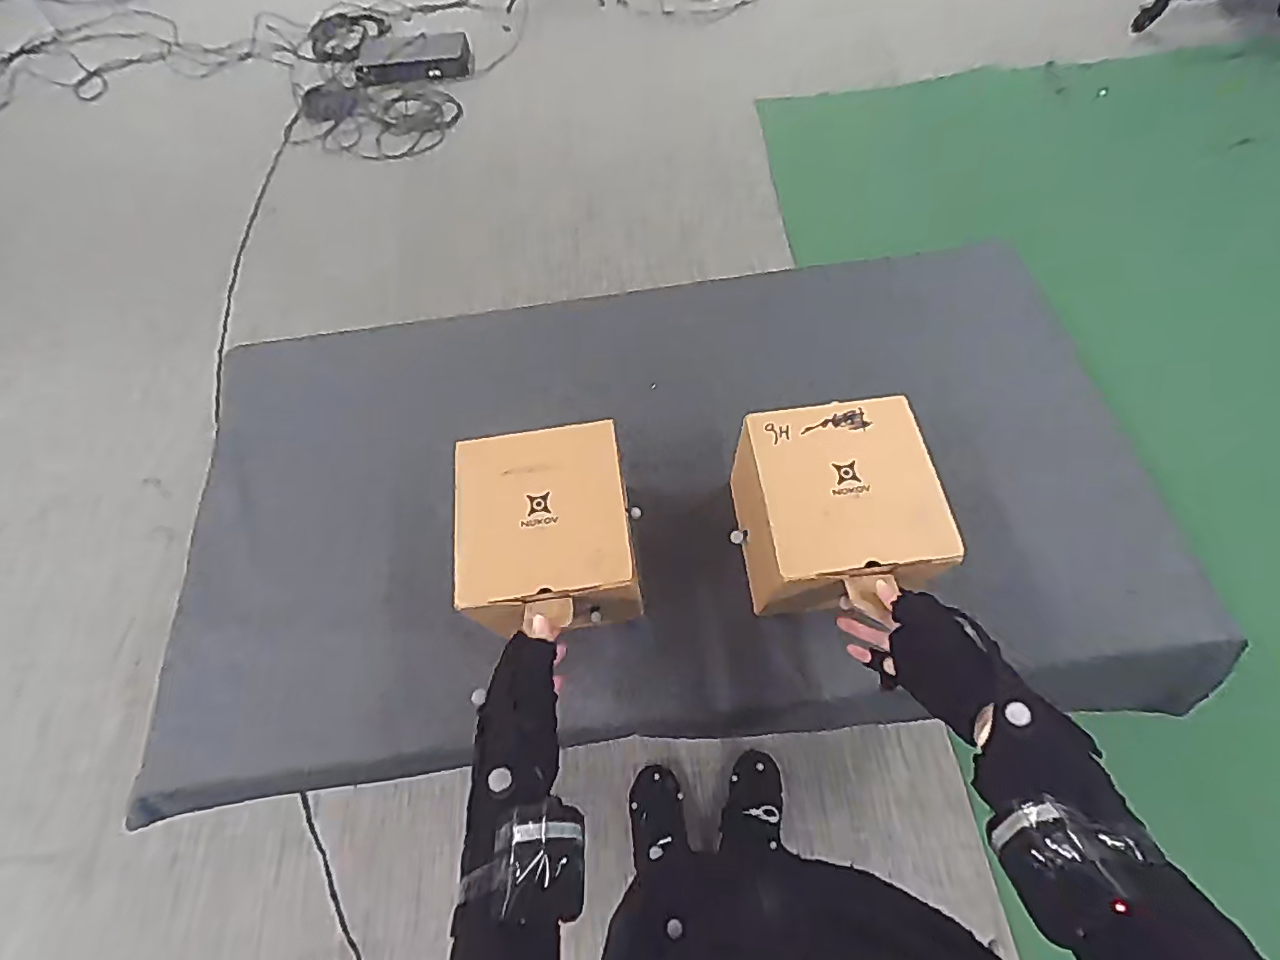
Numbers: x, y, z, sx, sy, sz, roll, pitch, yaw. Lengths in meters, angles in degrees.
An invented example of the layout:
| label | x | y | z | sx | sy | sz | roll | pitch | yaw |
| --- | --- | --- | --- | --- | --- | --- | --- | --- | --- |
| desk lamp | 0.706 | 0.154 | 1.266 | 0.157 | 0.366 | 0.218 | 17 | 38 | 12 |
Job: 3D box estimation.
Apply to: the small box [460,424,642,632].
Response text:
| label | x | y | z | sx | sy | sz | roll | pitch | yaw |
| --- | --- | --- | --- | --- | --- | --- | --- | --- | --- |
| small box | -0.091 | 0.064 | 0.602 | 0.168 | 0.176 | 0.179 | -9 | 64 | -2 |
